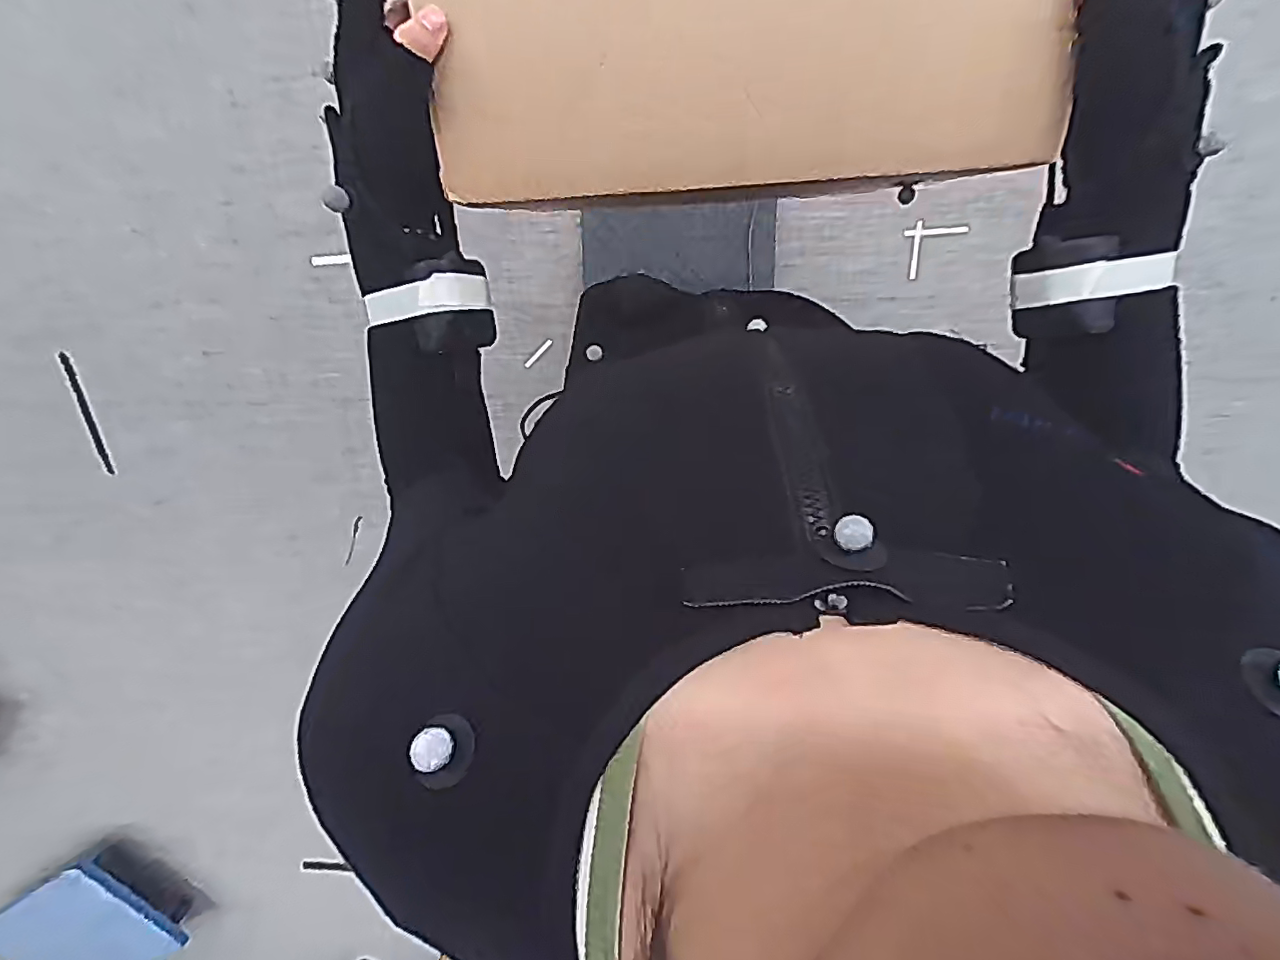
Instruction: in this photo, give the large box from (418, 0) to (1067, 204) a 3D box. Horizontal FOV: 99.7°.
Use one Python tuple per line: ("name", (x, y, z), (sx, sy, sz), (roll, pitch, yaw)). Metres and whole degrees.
("large box", (0.061, -0.410, 0.438), (0.408, 0.320, 0.320), (-3, 115, 1))
